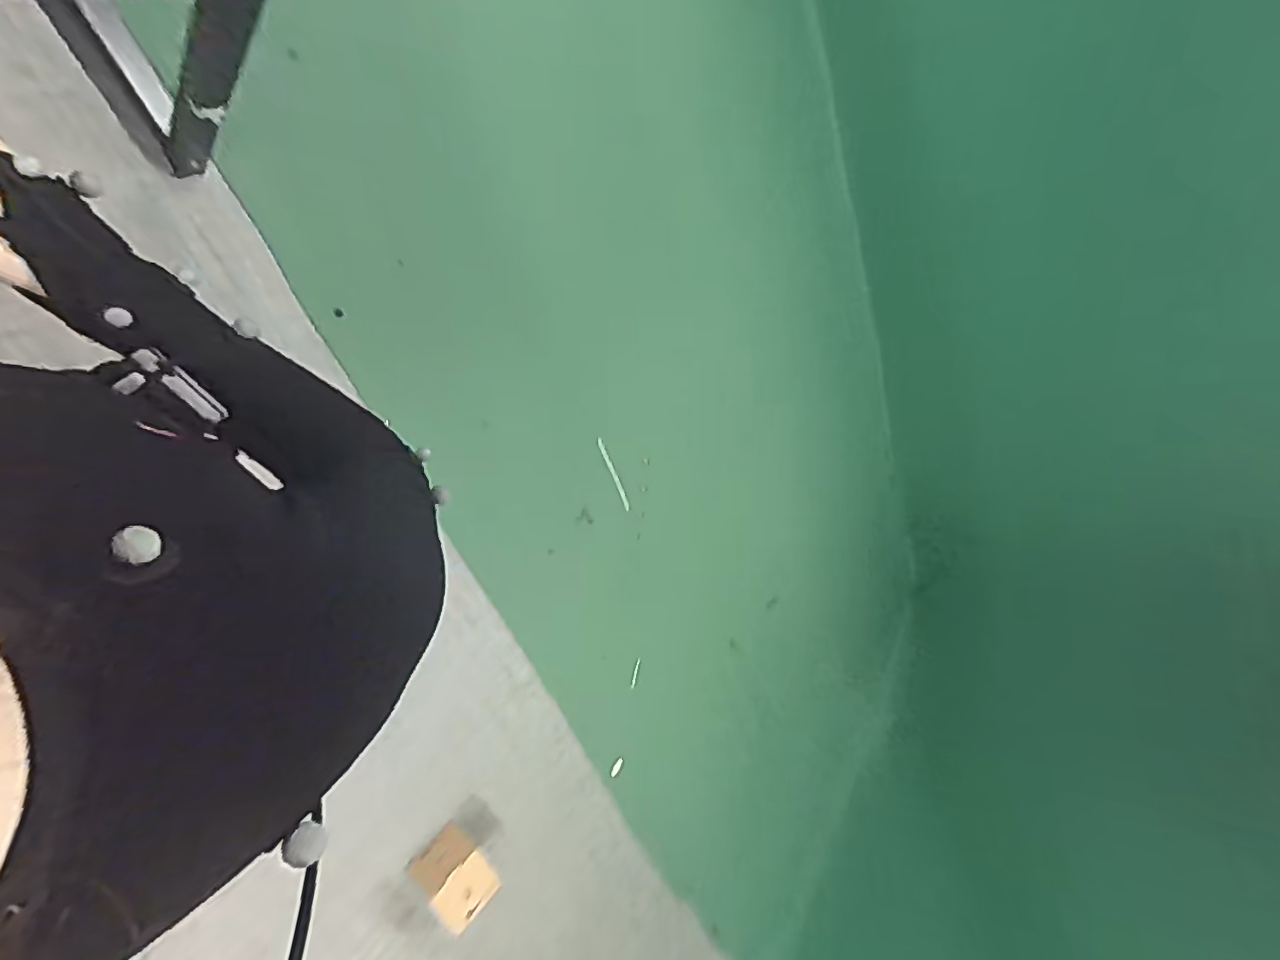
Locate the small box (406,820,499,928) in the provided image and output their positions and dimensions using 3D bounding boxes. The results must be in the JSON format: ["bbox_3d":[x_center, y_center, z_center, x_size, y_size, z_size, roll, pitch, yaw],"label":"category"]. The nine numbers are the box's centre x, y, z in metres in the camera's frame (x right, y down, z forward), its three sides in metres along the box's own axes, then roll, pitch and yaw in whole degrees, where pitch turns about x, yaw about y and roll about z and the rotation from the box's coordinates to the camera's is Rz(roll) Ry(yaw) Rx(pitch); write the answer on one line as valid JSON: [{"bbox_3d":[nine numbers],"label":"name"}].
[{"bbox_3d":[-0.556,1.149,1.595,0.168,0.176,0.179,-37,117,-37],"label":"small box"}]
